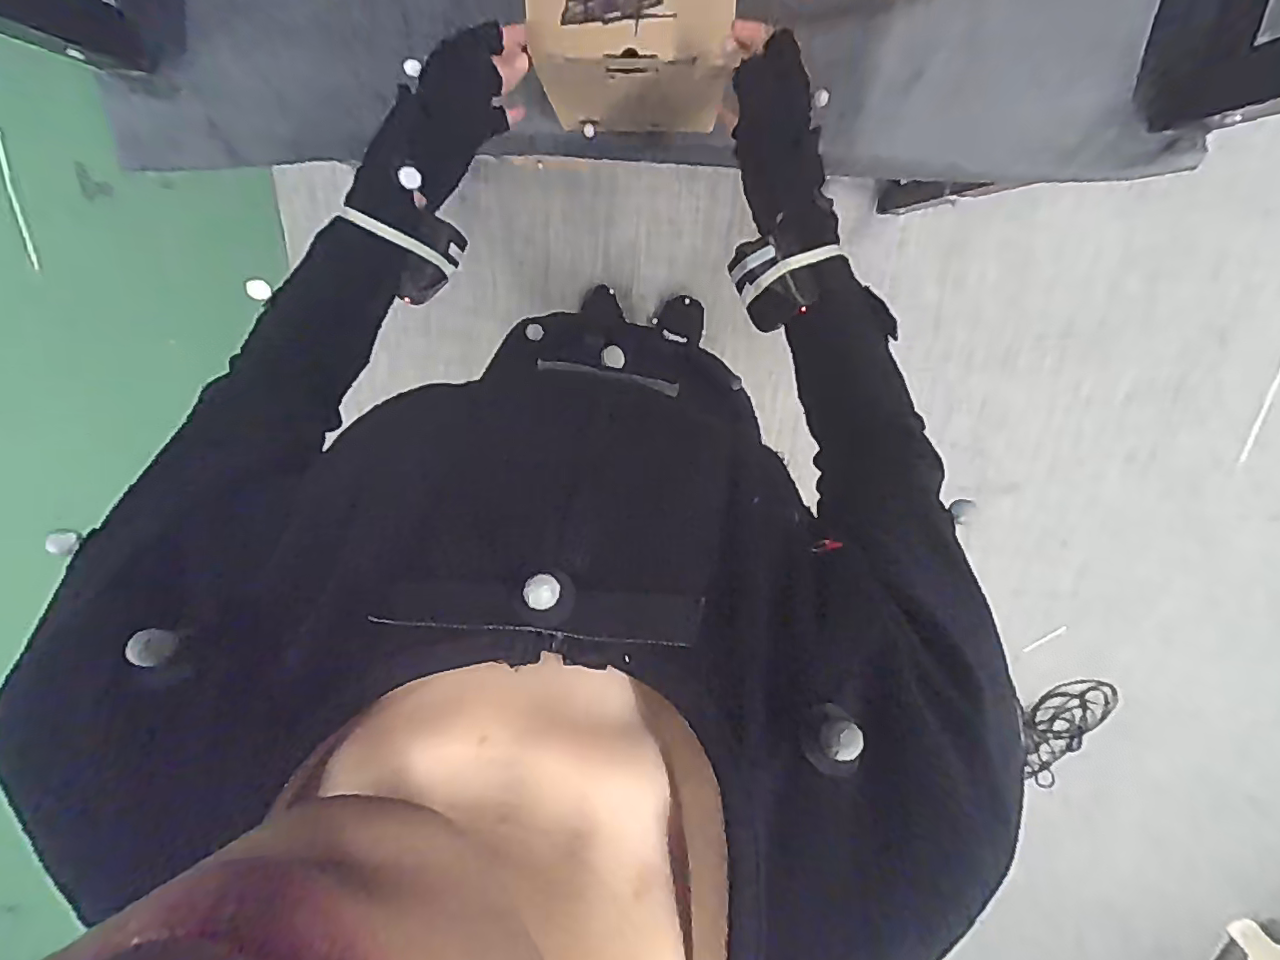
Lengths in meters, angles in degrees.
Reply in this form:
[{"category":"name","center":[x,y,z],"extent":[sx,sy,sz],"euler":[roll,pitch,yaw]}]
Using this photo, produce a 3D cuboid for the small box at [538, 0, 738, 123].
[{"category":"small box","center":[0.004,-0.452,0.498],"extent":[0.168,0.176,0.179],"euler":[1,106,2]}]
